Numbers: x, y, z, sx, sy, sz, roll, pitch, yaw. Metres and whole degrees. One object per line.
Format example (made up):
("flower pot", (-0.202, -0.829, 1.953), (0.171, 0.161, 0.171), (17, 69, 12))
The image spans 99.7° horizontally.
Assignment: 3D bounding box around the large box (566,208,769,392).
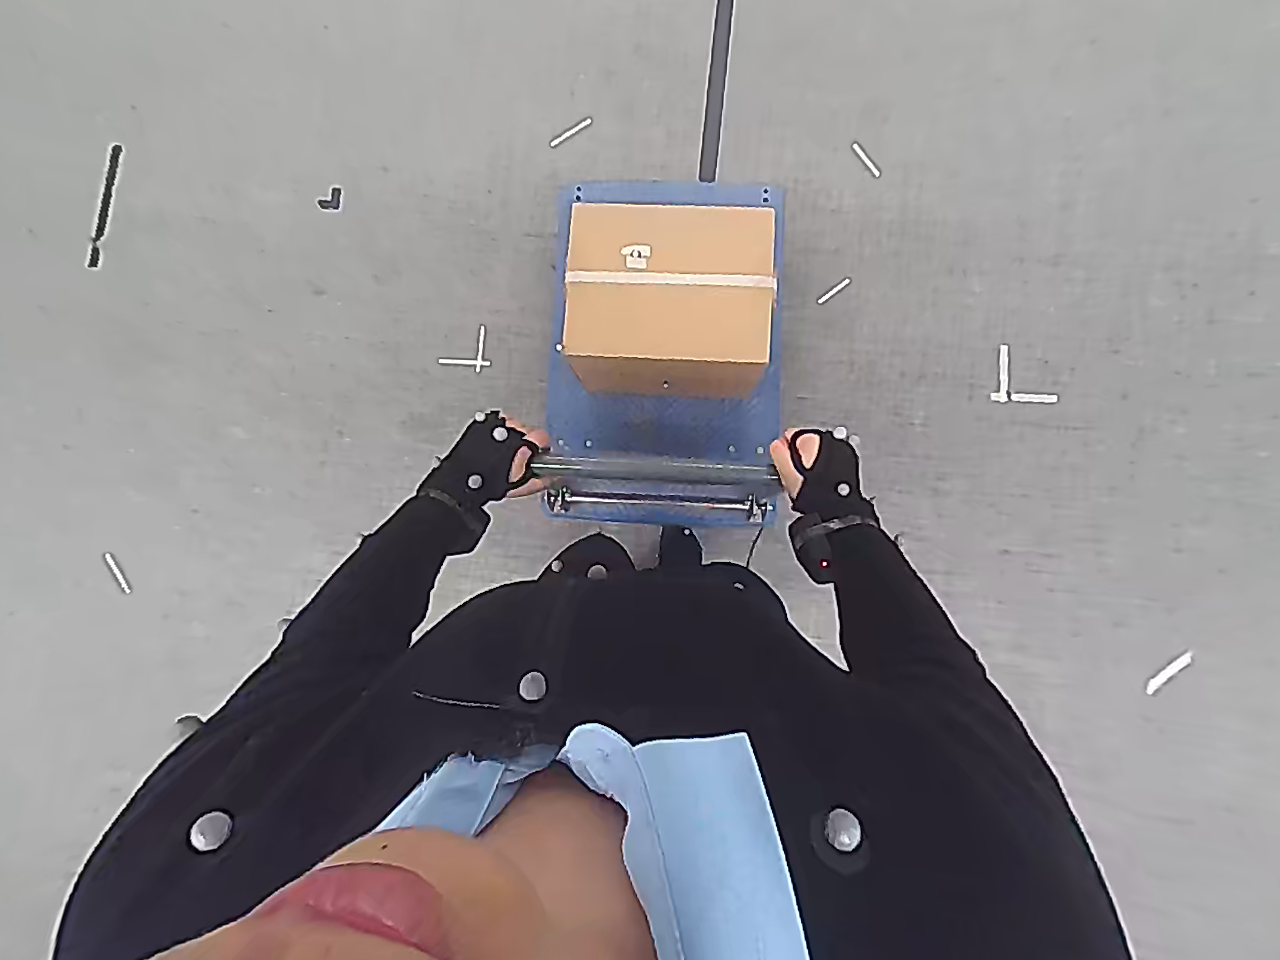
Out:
("large box", (0.067, -0.385, 1.227), (0.408, 0.320, 0.320), (3, 85, 5))
